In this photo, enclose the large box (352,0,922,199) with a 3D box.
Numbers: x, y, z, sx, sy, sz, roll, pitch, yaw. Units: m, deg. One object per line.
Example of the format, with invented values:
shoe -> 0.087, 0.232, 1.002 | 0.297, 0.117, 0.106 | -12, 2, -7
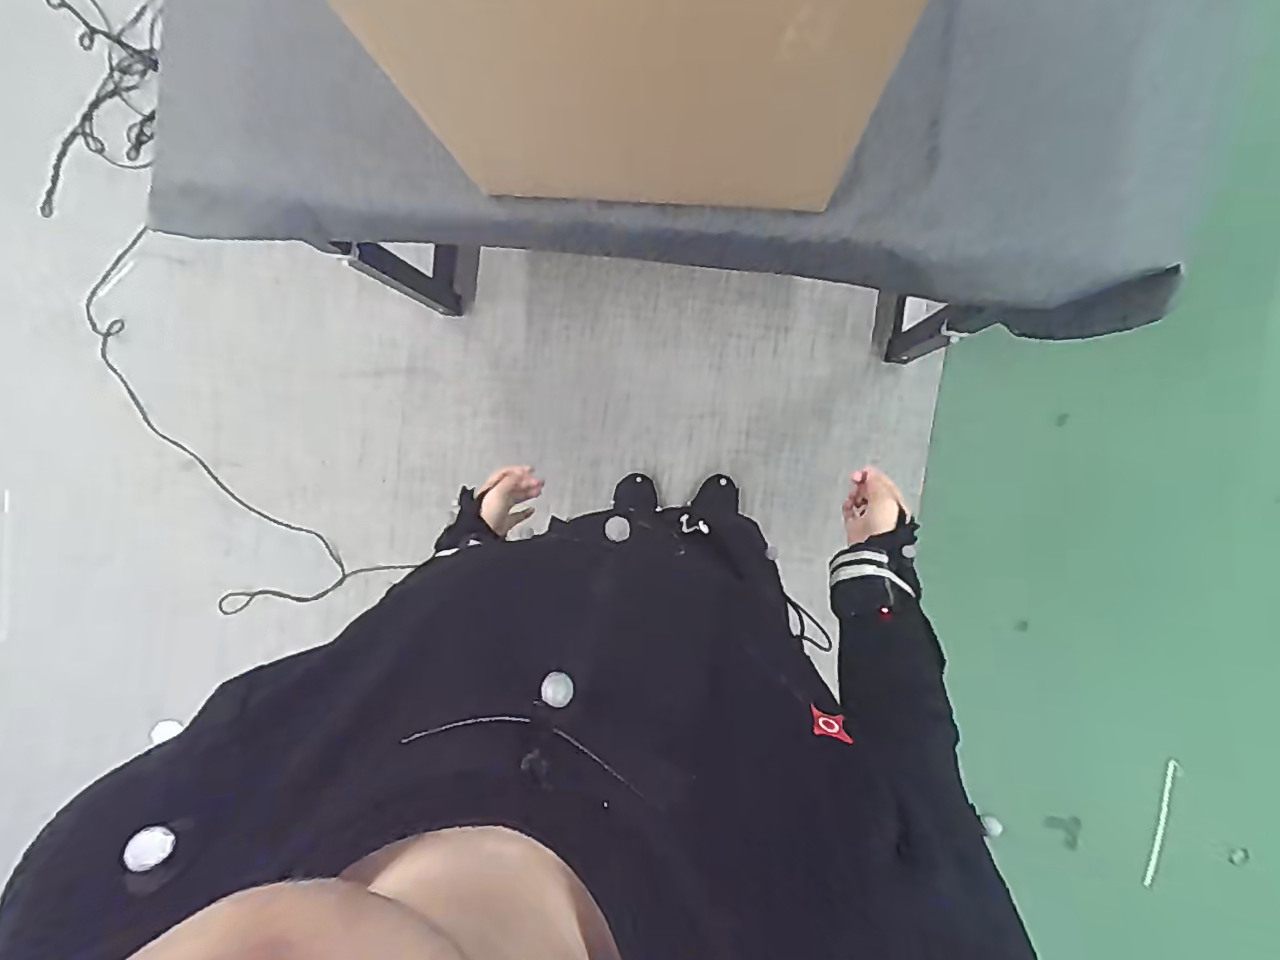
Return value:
large box -> 0.009, -0.475, 0.473 | 0.408, 0.320, 0.320 | 5, 92, 5
